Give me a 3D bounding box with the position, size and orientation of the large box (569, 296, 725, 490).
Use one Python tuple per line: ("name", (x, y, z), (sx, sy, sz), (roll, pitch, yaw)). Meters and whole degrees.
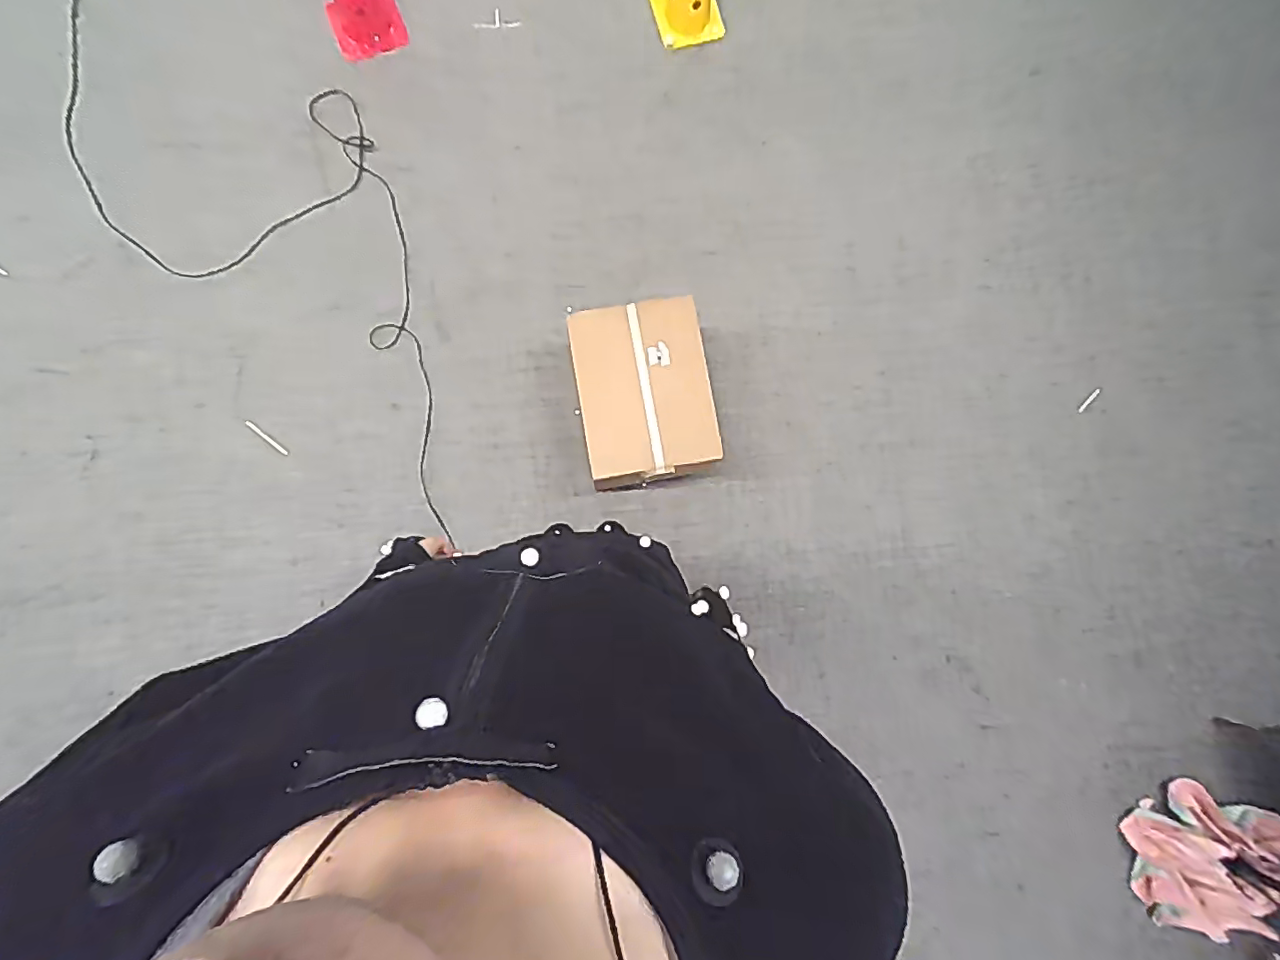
("large box", (0.009, -0.208, 1.418), (0.320, 0.320, 0.408), (-9, 84, -5))
